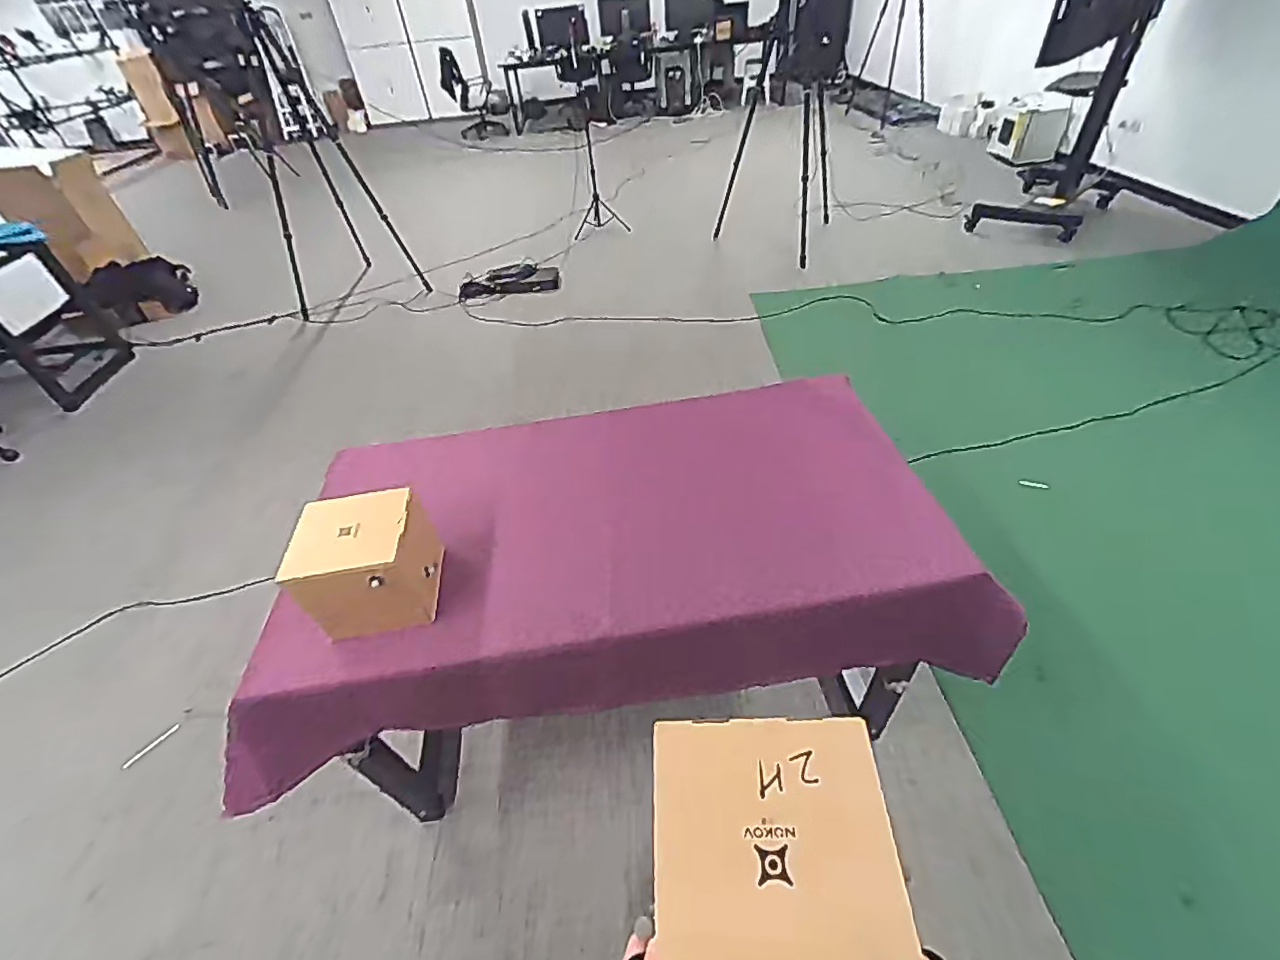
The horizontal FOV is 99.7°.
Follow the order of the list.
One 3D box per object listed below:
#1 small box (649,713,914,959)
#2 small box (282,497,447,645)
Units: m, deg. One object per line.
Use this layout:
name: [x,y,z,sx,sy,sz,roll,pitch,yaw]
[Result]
small box: [0.099,0.305,0.435,0.168,0.176,0.179,-4,49,6]
small box: [-0.444,0.155,0.906,0.179,0.176,0.168,-10,42,-4]
